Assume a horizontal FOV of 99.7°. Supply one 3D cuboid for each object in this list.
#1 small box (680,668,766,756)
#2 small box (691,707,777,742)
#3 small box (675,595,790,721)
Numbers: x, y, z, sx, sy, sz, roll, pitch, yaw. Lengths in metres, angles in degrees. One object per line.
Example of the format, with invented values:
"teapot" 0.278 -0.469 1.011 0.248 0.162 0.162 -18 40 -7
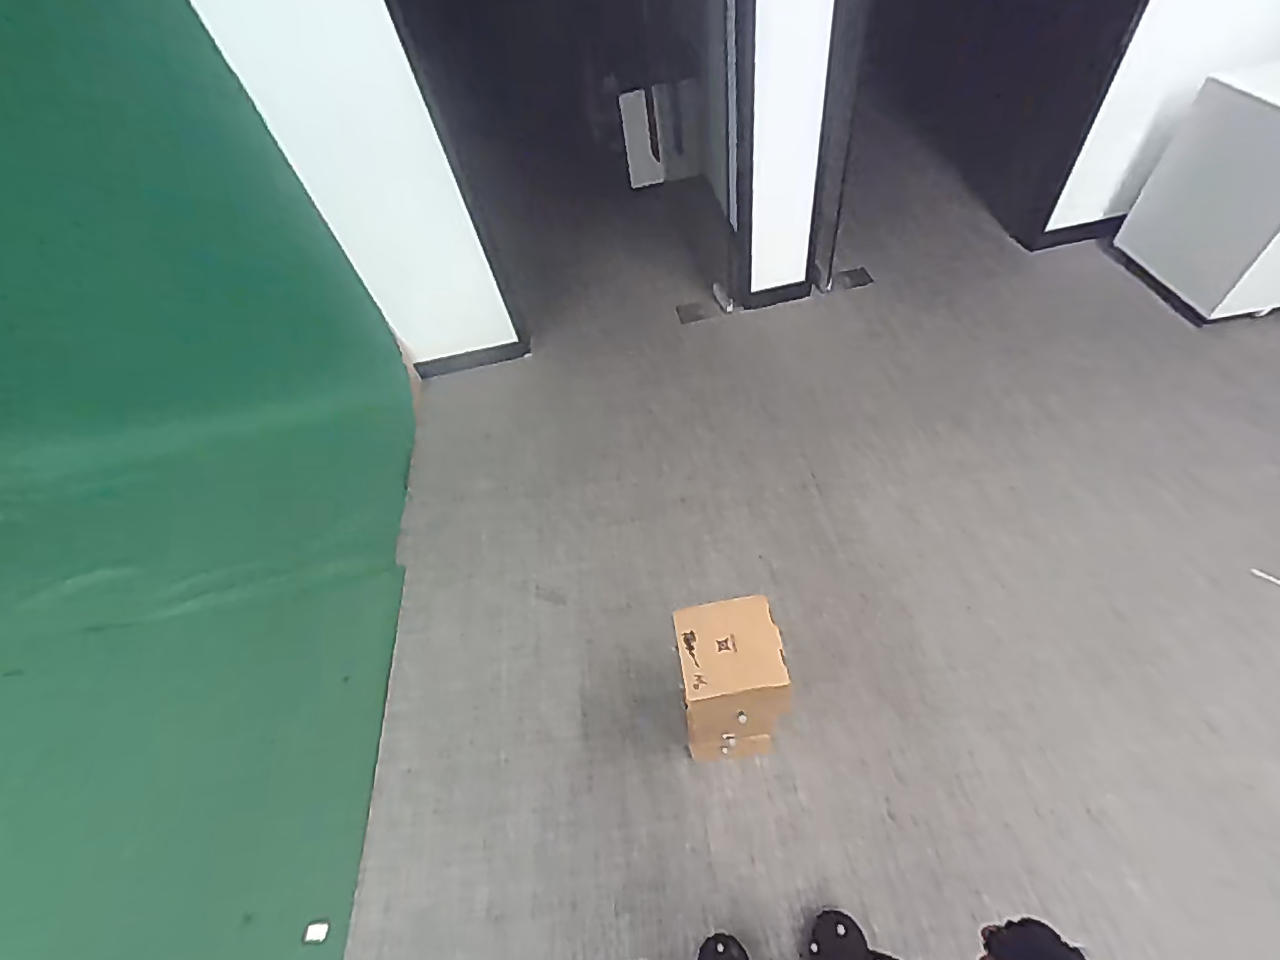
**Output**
"small box" 0.196 0.537 1.268 0.179 0.176 0.168 -9 52 3
"small box" 0.184 0.434 1.144 0.168 0.176 0.179 -11 53 4
"small box" 0.168 0.337 1.012 0.179 0.176 0.168 -11 51 3
